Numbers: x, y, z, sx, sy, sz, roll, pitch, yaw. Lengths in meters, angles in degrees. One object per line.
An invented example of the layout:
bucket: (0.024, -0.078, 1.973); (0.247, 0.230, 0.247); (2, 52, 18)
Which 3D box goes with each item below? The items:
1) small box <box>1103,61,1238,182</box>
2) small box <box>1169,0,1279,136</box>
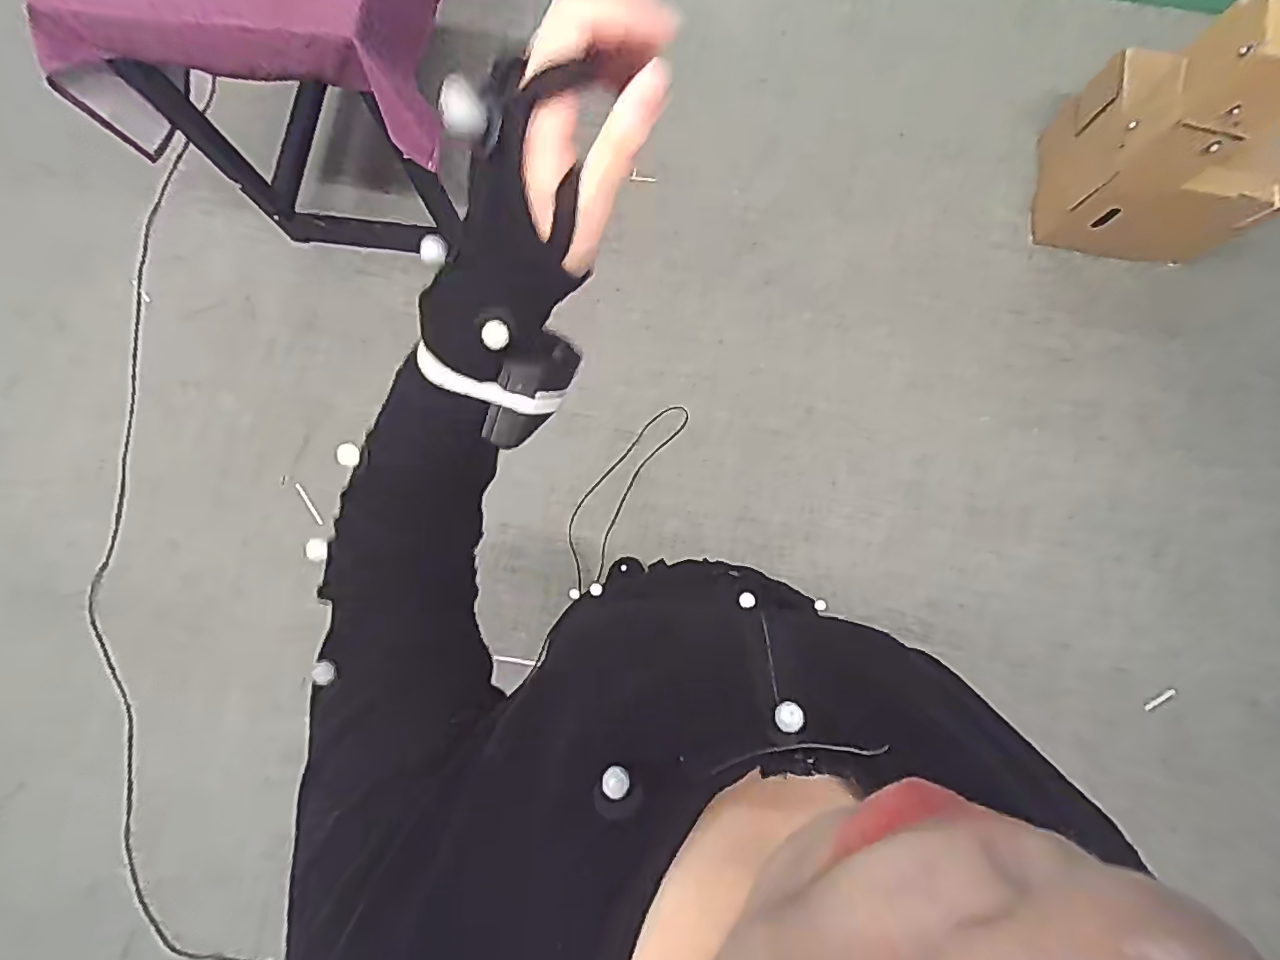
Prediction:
small box: (1.302, -0.872, 1.331); (0.179, 0.176, 0.168); (12, 80, 1)
small box: (1.307, -0.896, 1.170); (0.168, 0.176, 0.179); (13, 81, 1)
